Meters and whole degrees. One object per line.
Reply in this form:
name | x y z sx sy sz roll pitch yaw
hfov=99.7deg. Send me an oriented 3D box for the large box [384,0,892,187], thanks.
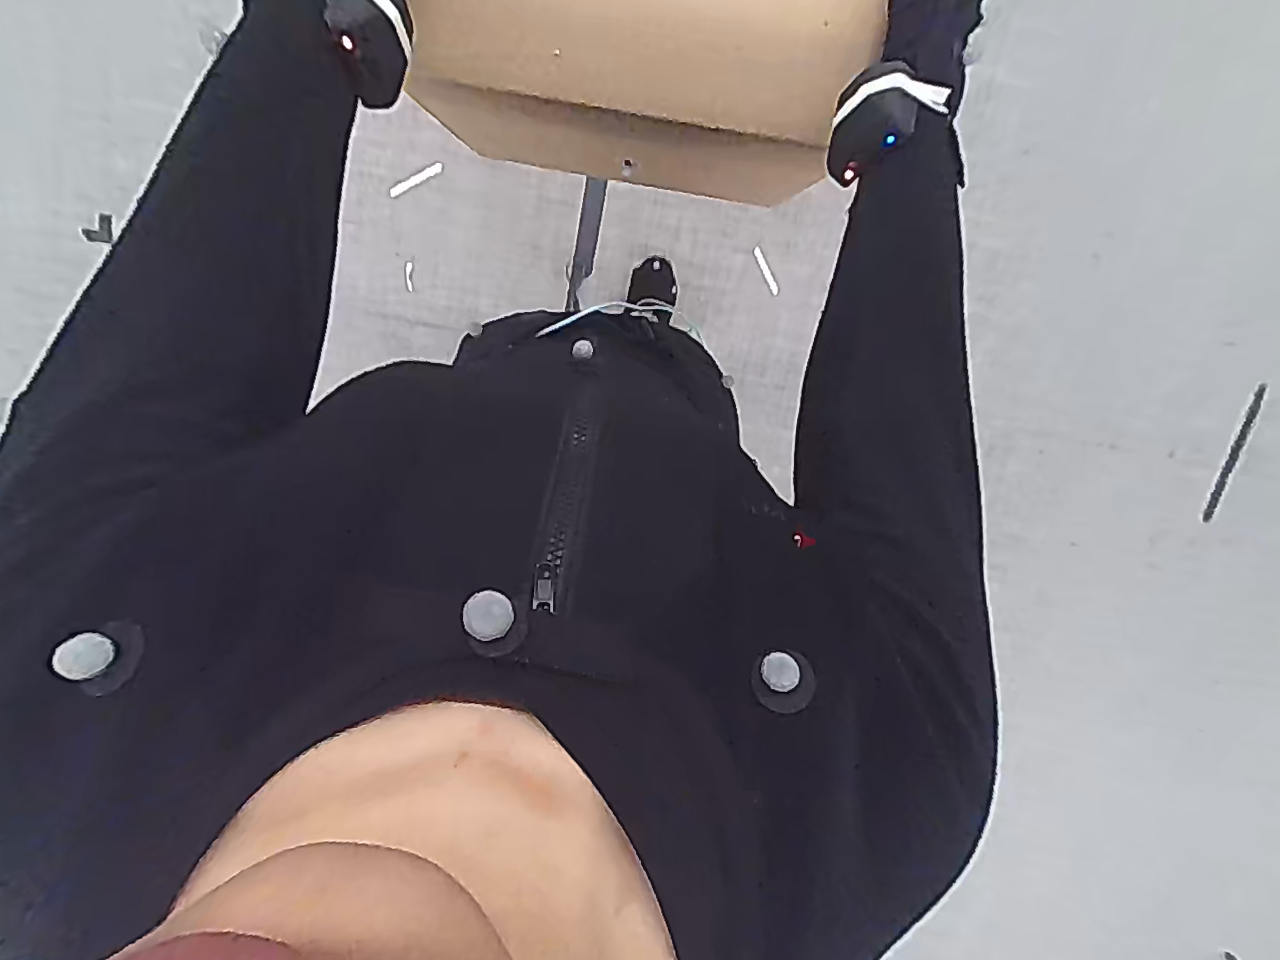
large box | 0.013 -0.509 0.535 0.408 0.320 0.320 8 108 -3
